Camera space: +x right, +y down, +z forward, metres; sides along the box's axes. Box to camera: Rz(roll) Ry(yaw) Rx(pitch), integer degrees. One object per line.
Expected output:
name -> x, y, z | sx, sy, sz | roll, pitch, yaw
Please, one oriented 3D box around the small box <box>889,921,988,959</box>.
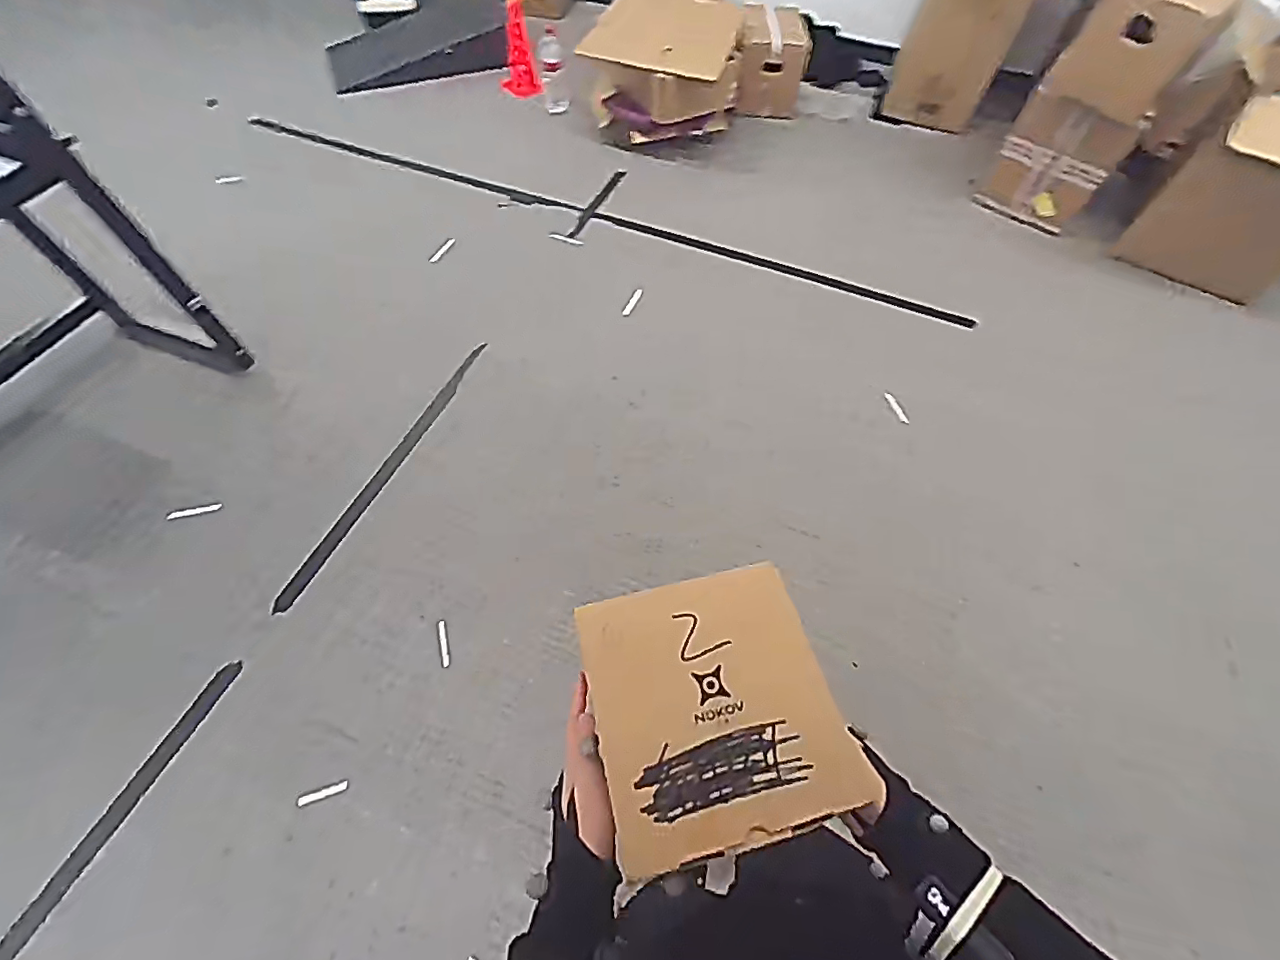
small box -> 0.518, 0.878, 0.895 | 0.168, 0.176, 0.179 | 23, 61, 12
